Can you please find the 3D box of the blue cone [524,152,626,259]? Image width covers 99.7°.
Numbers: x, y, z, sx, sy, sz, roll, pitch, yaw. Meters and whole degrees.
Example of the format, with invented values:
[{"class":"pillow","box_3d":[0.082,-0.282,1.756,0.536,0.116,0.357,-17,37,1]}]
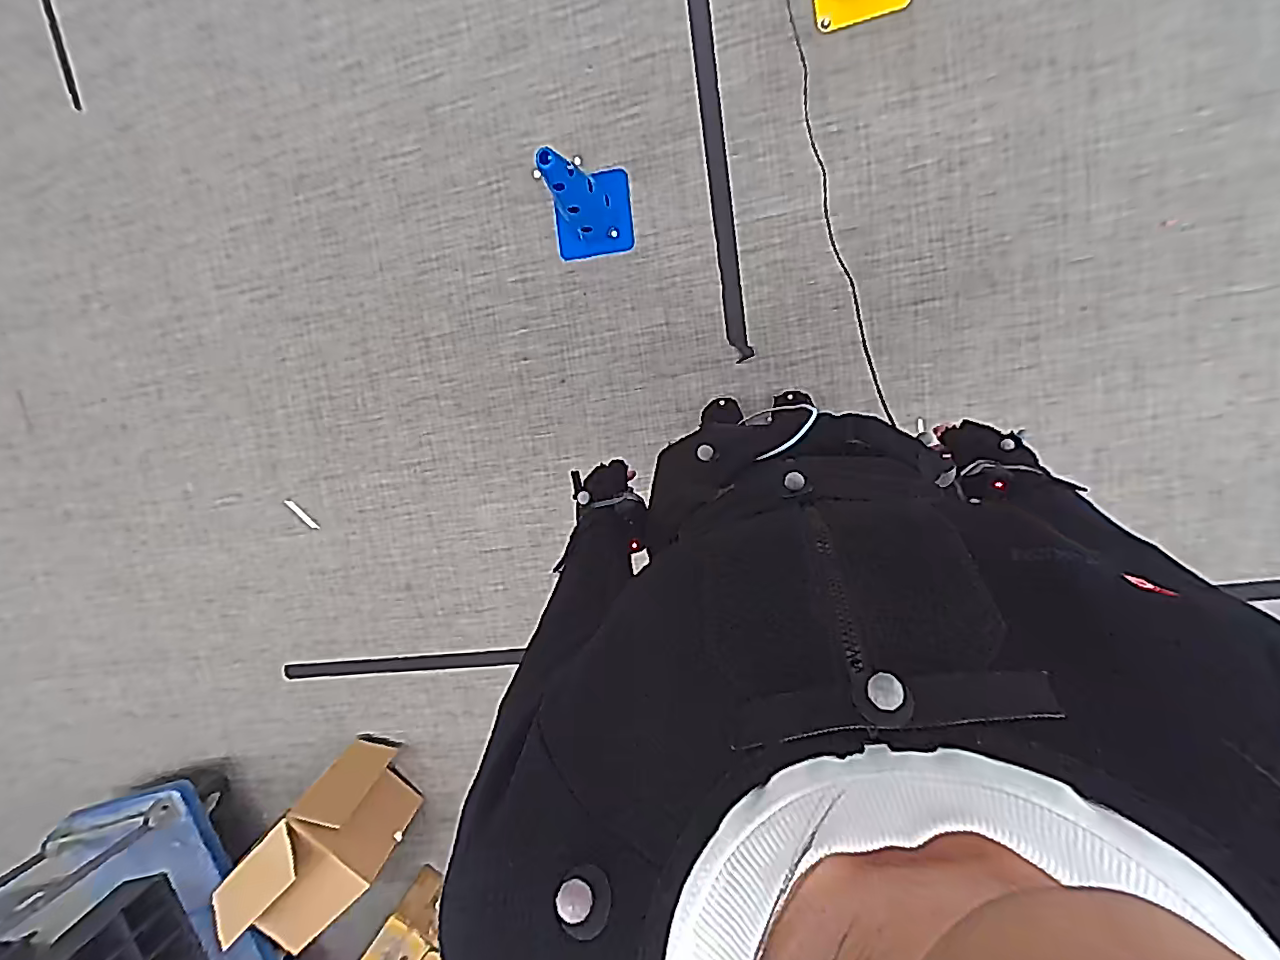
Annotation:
[{"class":"blue cone","box_3d":[-0.164,-0.651,1.229,0.192,0.380,0.193,-3,98,12]}]
